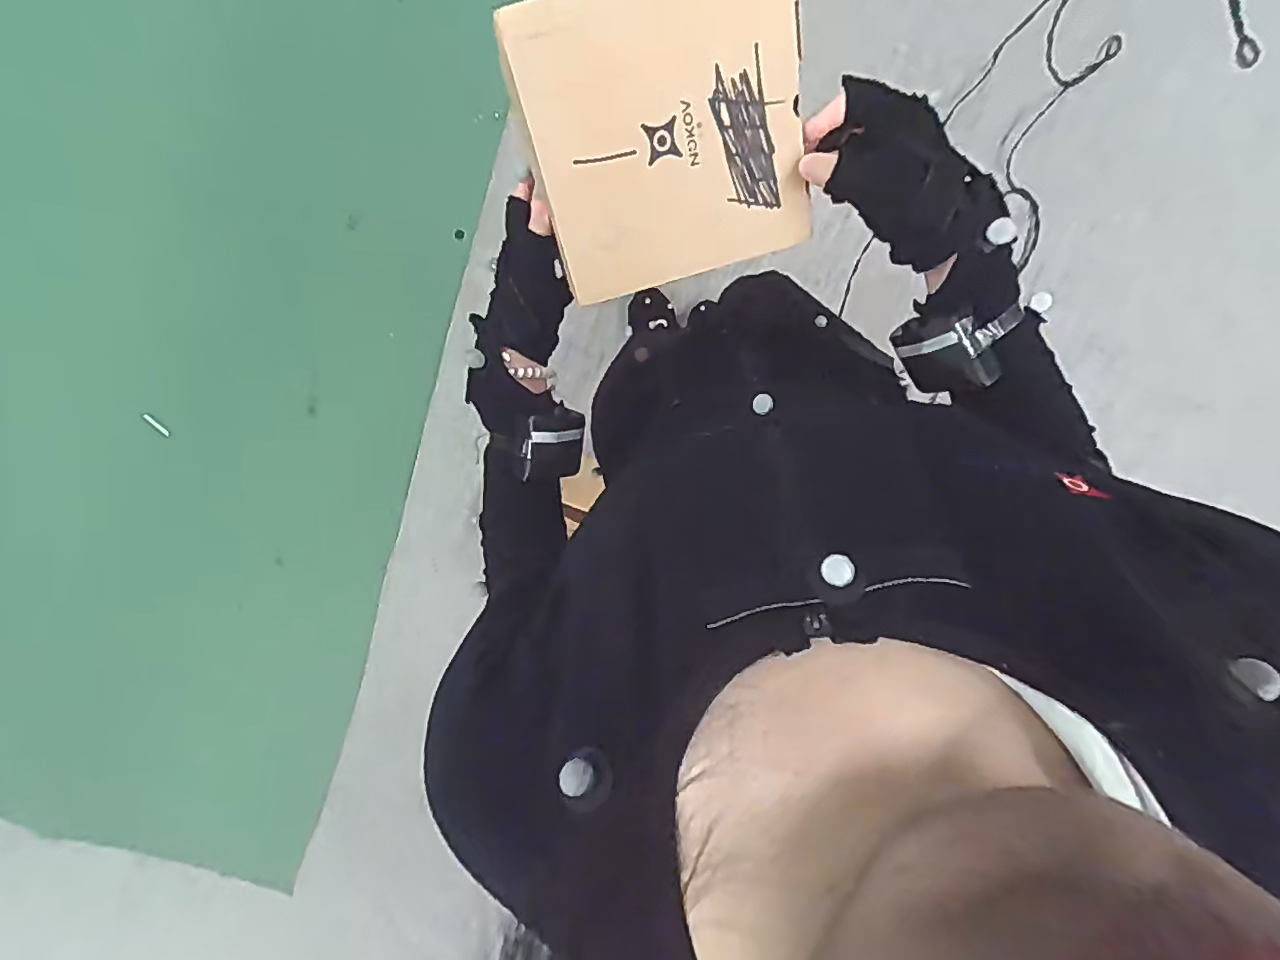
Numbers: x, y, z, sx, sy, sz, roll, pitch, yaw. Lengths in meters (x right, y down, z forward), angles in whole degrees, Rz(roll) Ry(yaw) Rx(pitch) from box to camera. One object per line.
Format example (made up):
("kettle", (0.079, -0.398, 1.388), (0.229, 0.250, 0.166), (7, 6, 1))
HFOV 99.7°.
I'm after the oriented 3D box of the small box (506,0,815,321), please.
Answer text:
("small box", (0.009, -0.239, 0.404), (0.179, 0.176, 0.168), (-17, 121, -3))
